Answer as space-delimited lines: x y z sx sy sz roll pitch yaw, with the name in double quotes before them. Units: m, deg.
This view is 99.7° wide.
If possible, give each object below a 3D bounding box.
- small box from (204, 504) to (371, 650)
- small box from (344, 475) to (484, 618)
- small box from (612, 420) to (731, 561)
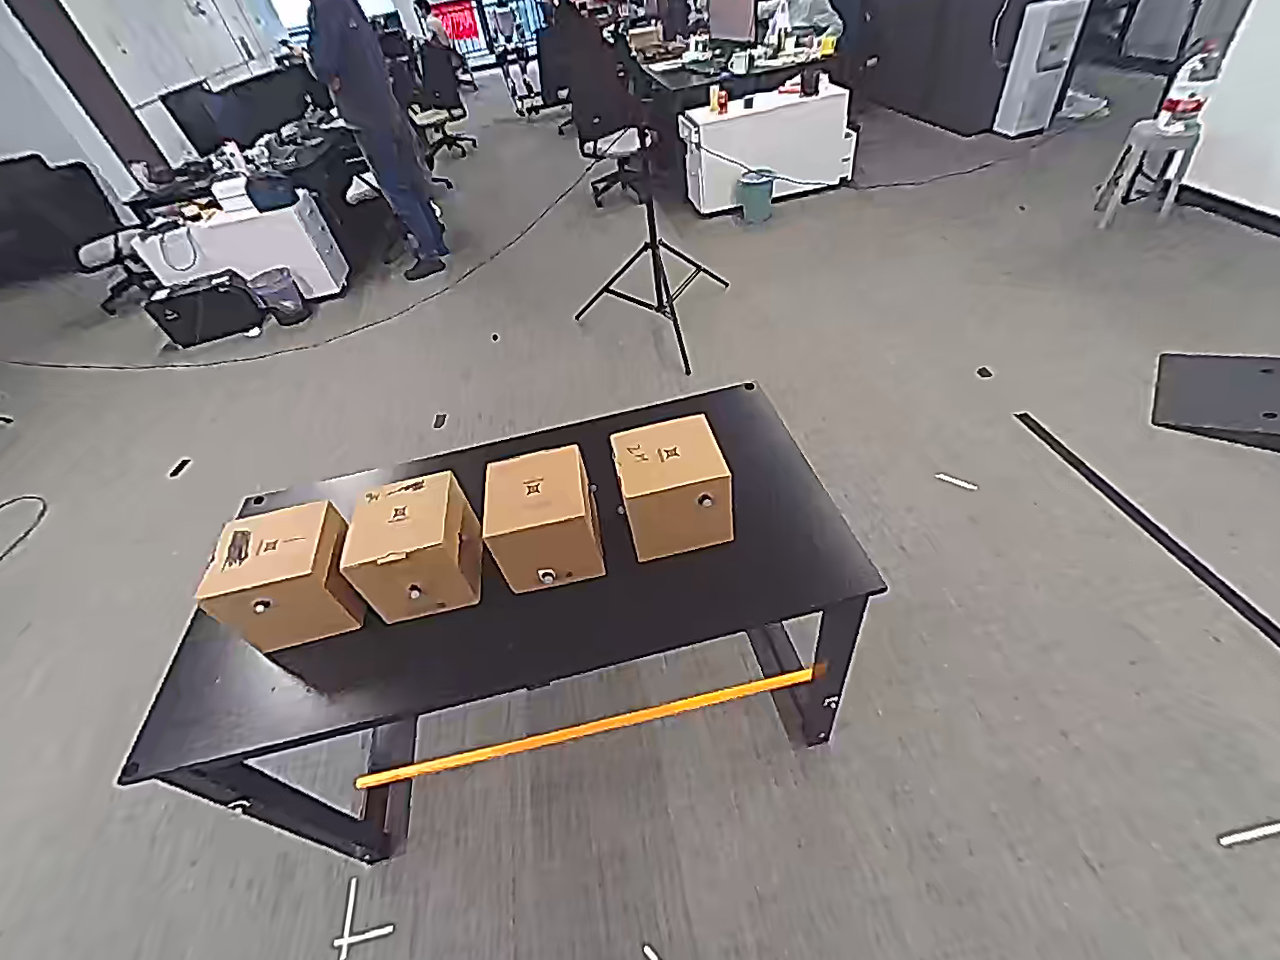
"small box" -0.593 0.173 0.945 0.179 0.176 0.168 -14 45 -5
"small box" -0.384 0.124 0.954 0.168 0.176 0.179 -13 45 -1
"small box" 0.057 0.021 0.969 0.179 0.176 0.168 -13 44 -2
